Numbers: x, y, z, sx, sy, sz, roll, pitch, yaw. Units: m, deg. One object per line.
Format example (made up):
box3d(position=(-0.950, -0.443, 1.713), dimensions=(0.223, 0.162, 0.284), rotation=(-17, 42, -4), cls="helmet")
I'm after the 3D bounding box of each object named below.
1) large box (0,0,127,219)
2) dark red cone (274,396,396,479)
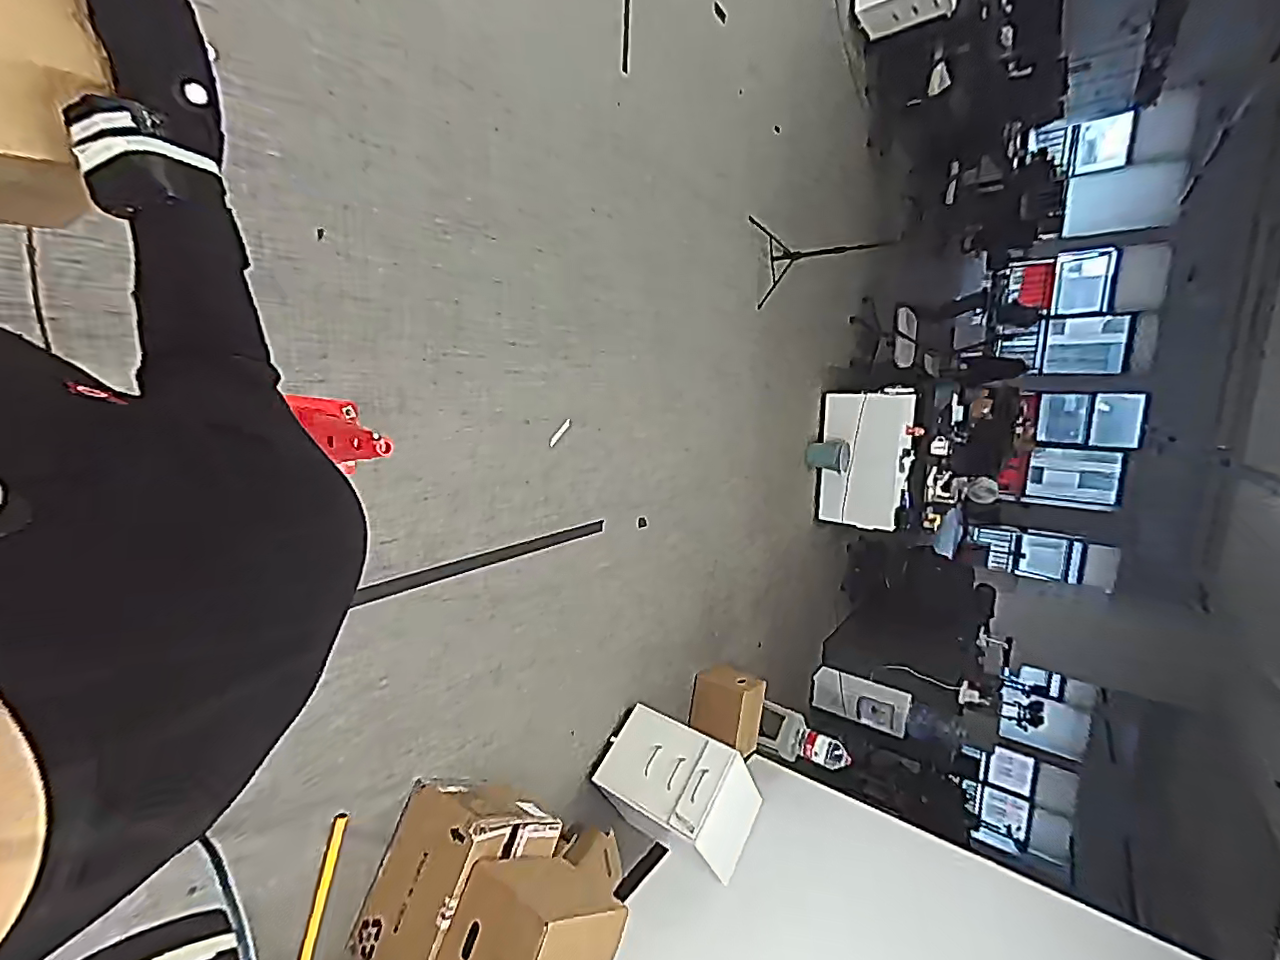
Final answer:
box3d(position=(-0.628, -0.358, 0.302), dimensions=(0.408, 0.320, 0.320), rotation=(-21, 115, -51), cls="large box")
box3d(position=(-0.682, -0.085, 1.262), dimensions=(0.201, 0.394, 0.202), rotation=(-2, 98, -51), cls="dark red cone")
